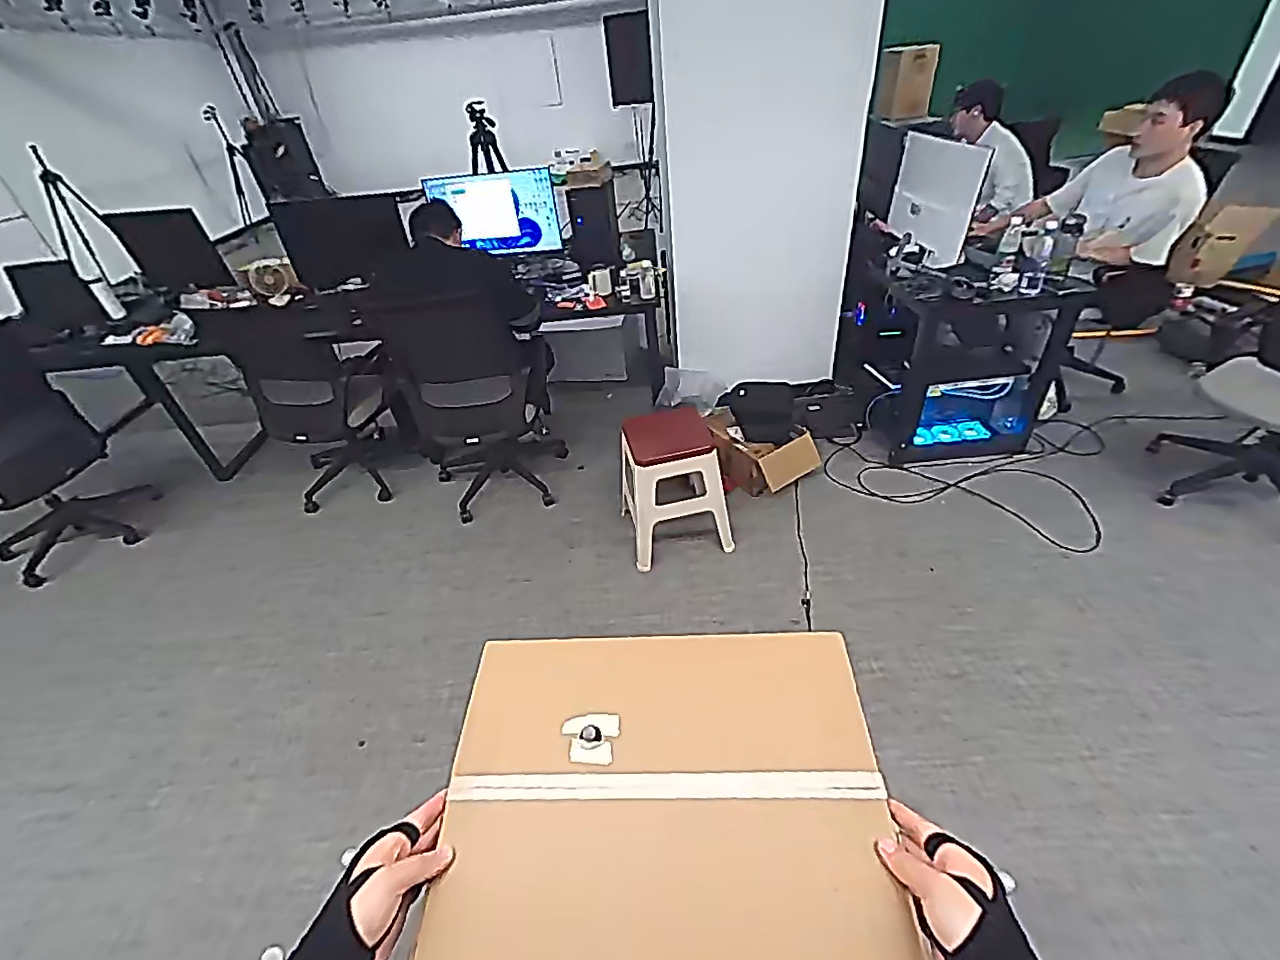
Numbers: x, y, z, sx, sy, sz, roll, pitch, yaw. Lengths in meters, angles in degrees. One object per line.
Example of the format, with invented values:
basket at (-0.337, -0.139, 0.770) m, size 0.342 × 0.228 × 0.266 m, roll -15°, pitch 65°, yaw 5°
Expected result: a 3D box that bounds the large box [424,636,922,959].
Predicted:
large box at (0.038, 0.403, 0.616) m, size 0.408 × 0.320 × 0.320 m, roll -4°, pitch 43°, yaw 5°
